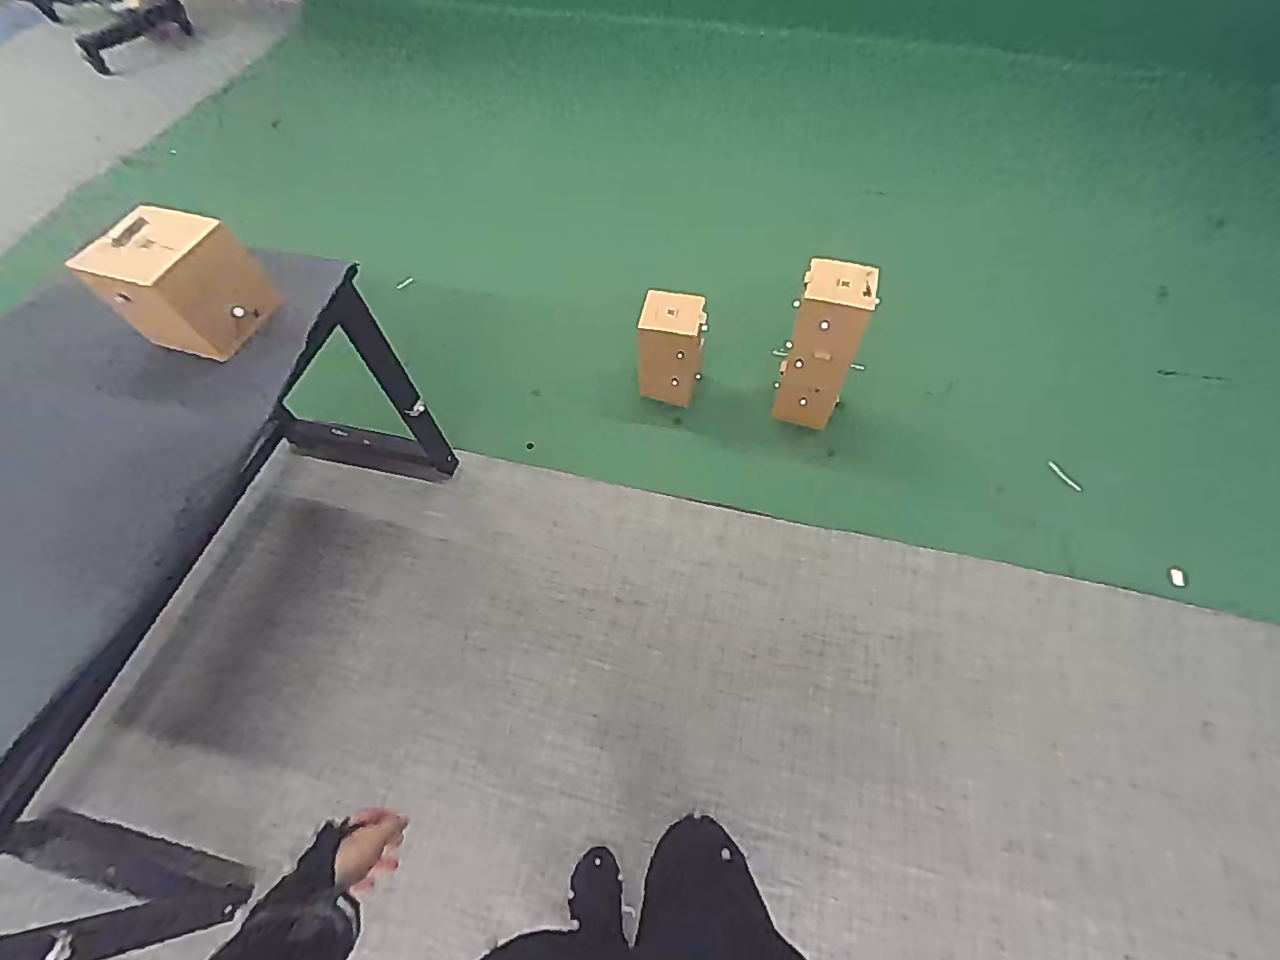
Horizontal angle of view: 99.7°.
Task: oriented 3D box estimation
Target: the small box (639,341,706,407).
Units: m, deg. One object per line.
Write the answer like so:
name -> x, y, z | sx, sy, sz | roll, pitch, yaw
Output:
small box -> 0.106, -0.363, 1.784 | 0.179, 0.176, 0.168 | 17, 61, 11

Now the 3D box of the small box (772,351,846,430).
small box -> 0.537, -0.281, 1.729 | 0.179, 0.176, 0.168 | 15, 62, 10

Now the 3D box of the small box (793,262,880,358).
small box -> 0.521, -0.451, 1.449 | 0.179, 0.176, 0.168 | 14, 60, 10

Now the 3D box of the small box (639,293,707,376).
small box -> 0.099, -0.437, 1.639 | 0.179, 0.176, 0.168 | 10, 60, 8

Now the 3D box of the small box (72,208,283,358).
small box -> -0.780, -0.334, 0.933 | 0.179, 0.176, 0.168 | 15, 62, 12
